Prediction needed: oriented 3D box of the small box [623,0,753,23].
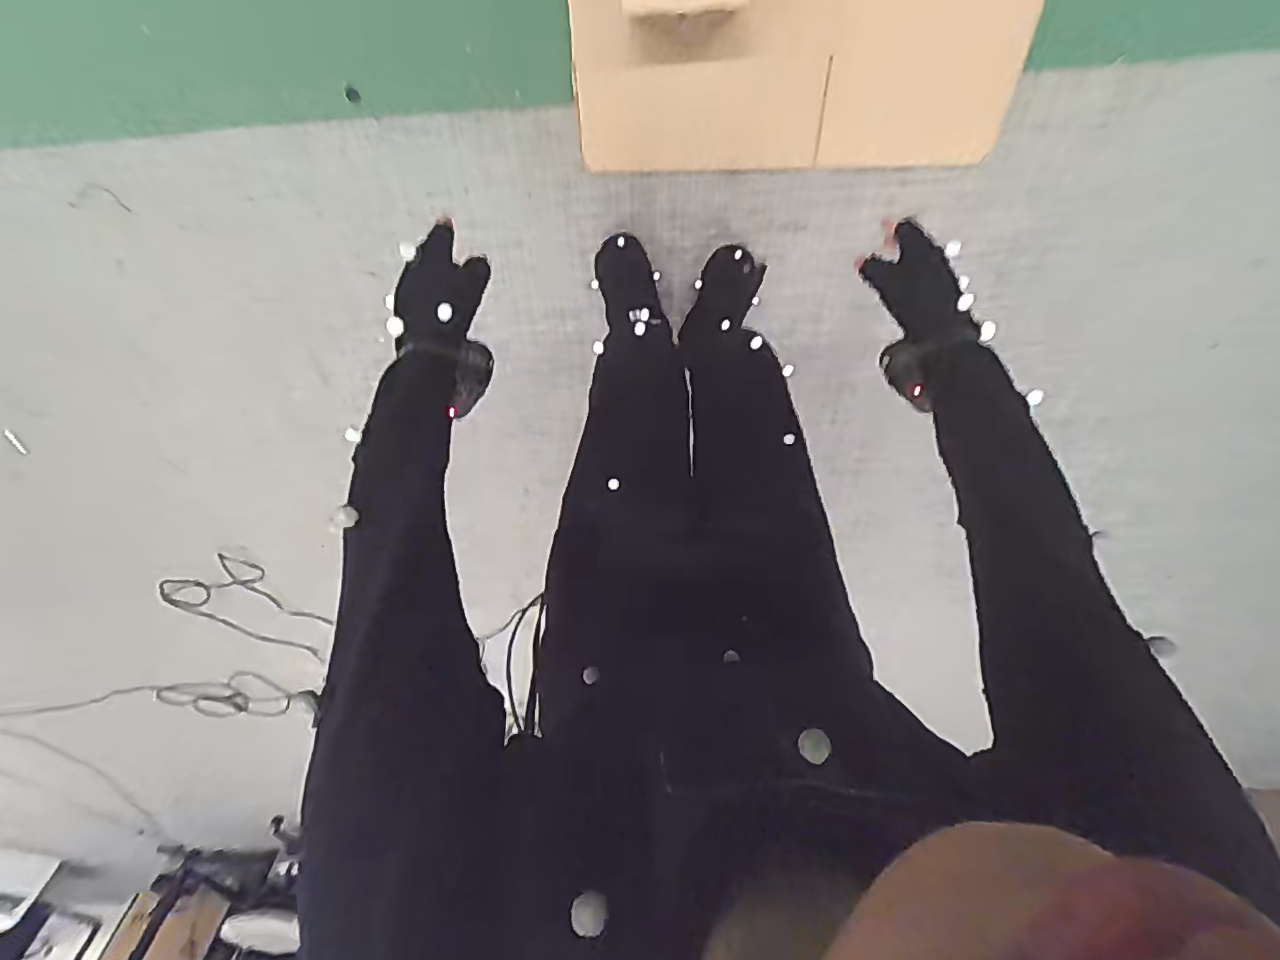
[{"bbox_3d":[0.061,-0.709,0.695,0.168,0.176,0.179,0,129,4],"label":"small box"}]
